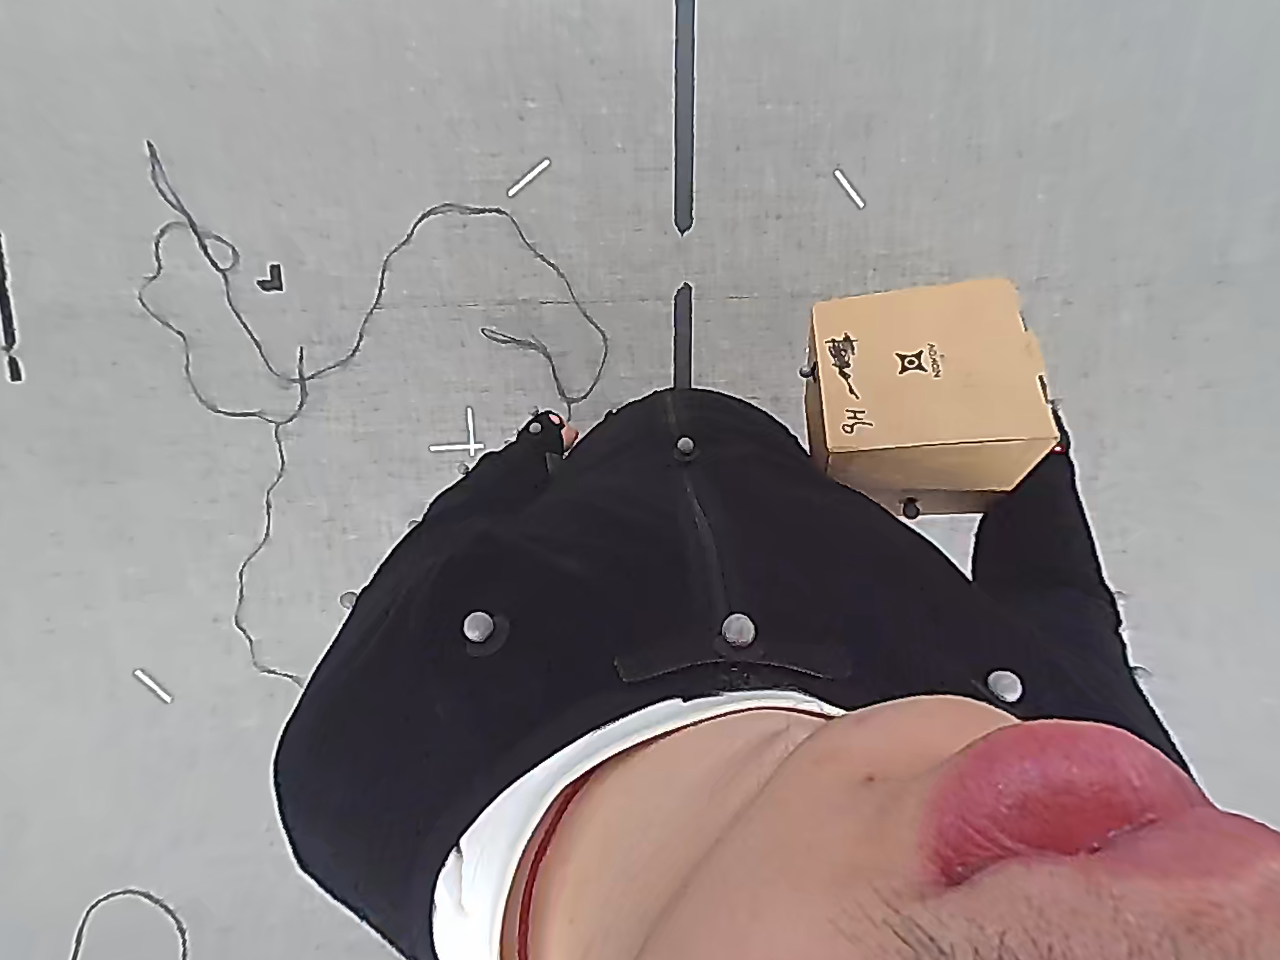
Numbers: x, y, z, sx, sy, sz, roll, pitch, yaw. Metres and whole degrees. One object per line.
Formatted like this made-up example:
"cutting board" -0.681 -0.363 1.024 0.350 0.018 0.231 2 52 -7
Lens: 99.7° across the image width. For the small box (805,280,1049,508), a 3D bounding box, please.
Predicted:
"small box" 0.271 -0.076 0.559 0.179 0.176 0.168 -3 65 13
